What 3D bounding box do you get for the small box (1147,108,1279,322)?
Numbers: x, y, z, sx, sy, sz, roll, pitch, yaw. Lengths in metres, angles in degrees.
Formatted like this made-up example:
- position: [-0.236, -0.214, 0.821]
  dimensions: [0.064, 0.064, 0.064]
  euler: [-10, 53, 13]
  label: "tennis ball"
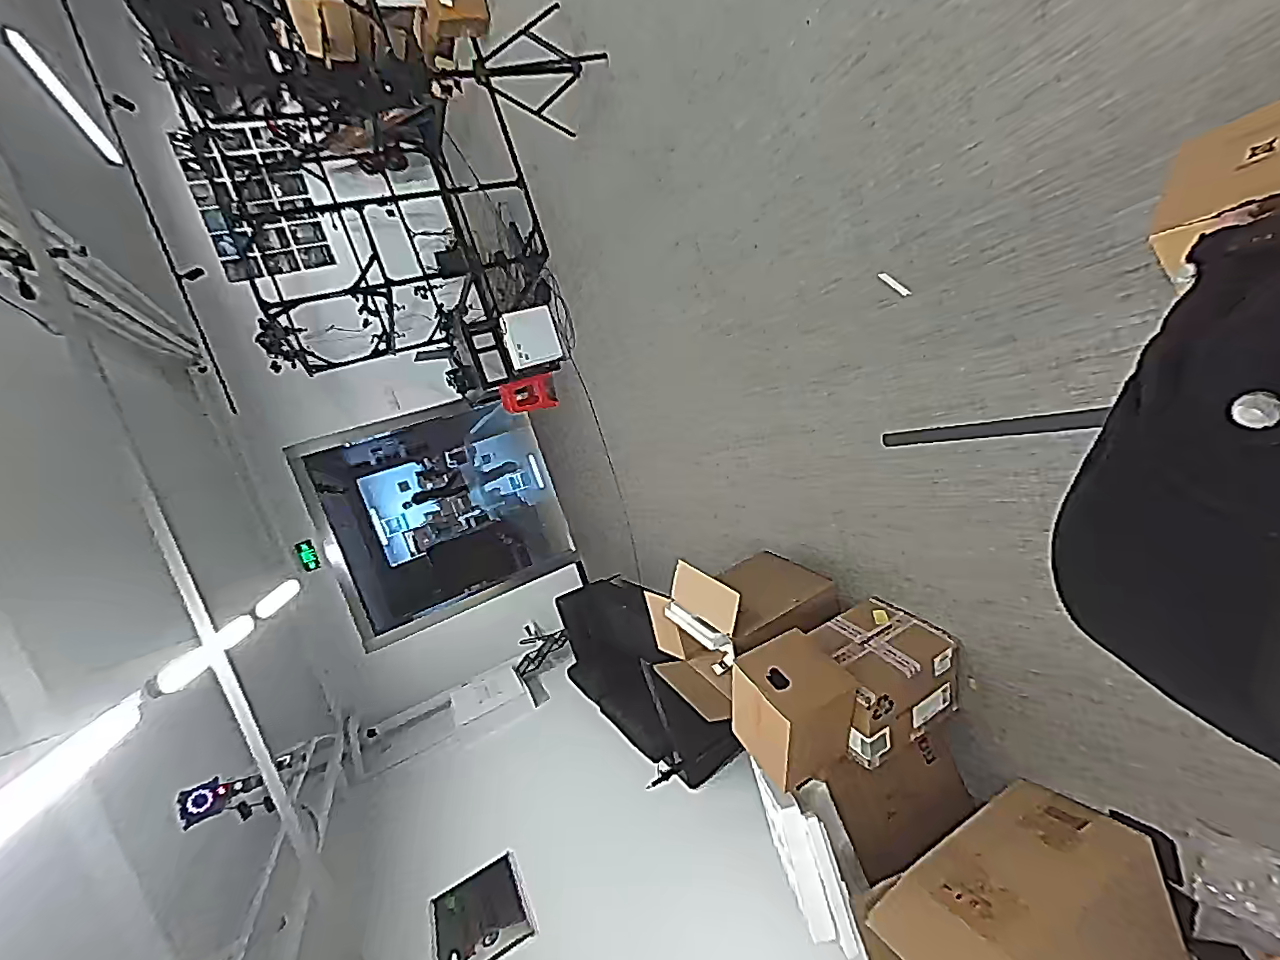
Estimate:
- position: [0.746, -0.307, 0.629]
  dimensions: [0.176, 0.179, 0.168]
  euler: [38, 163, -22]
  label: "small box"
